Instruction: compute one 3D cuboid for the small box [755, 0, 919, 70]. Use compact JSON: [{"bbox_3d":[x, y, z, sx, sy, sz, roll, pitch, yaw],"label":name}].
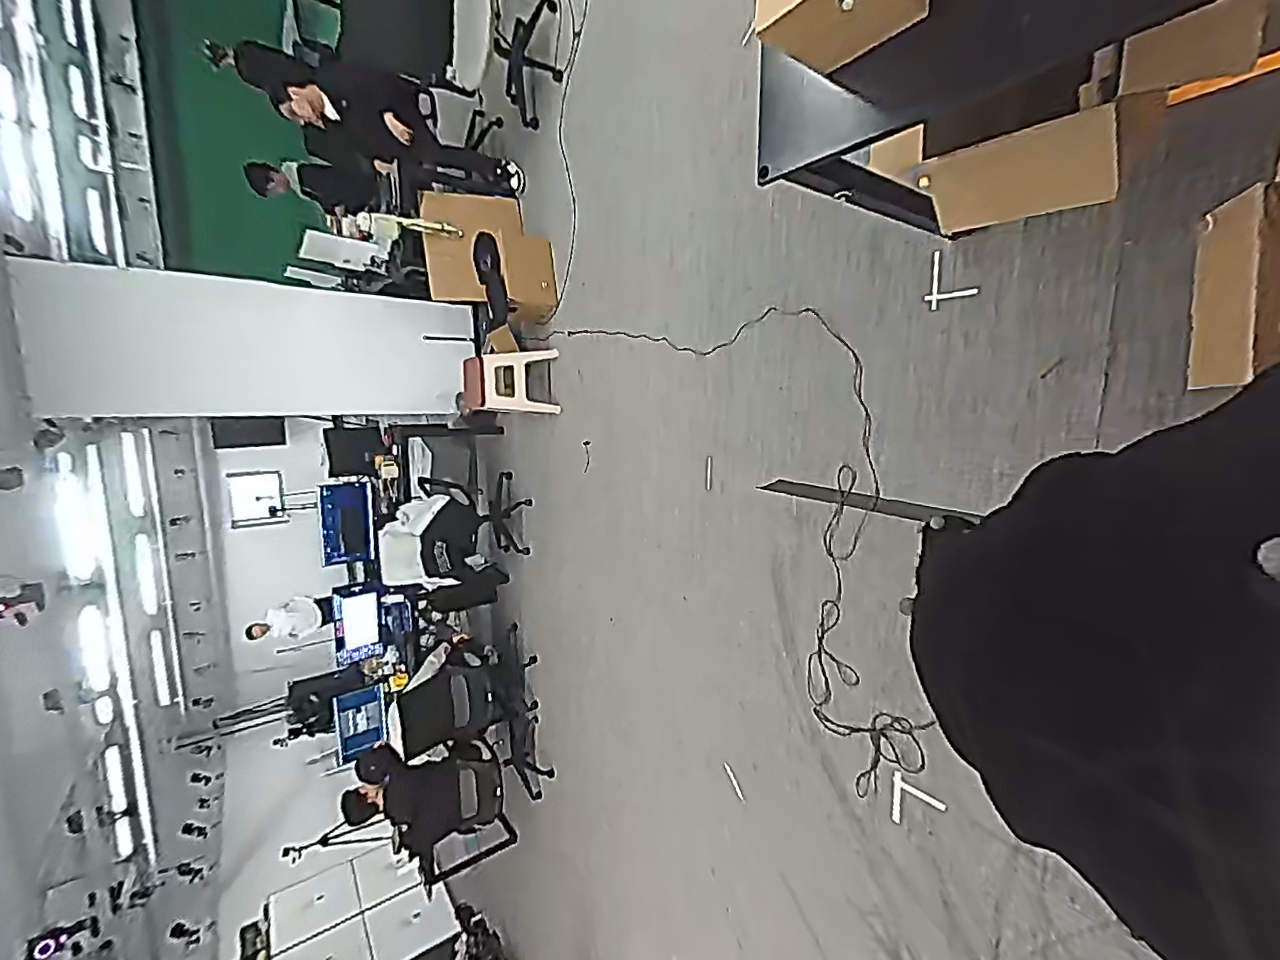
[{"bbox_3d":[0.284,-0.732,0.762,0.179,0.176,0.168,10,103,53],"label":"small box"}]
